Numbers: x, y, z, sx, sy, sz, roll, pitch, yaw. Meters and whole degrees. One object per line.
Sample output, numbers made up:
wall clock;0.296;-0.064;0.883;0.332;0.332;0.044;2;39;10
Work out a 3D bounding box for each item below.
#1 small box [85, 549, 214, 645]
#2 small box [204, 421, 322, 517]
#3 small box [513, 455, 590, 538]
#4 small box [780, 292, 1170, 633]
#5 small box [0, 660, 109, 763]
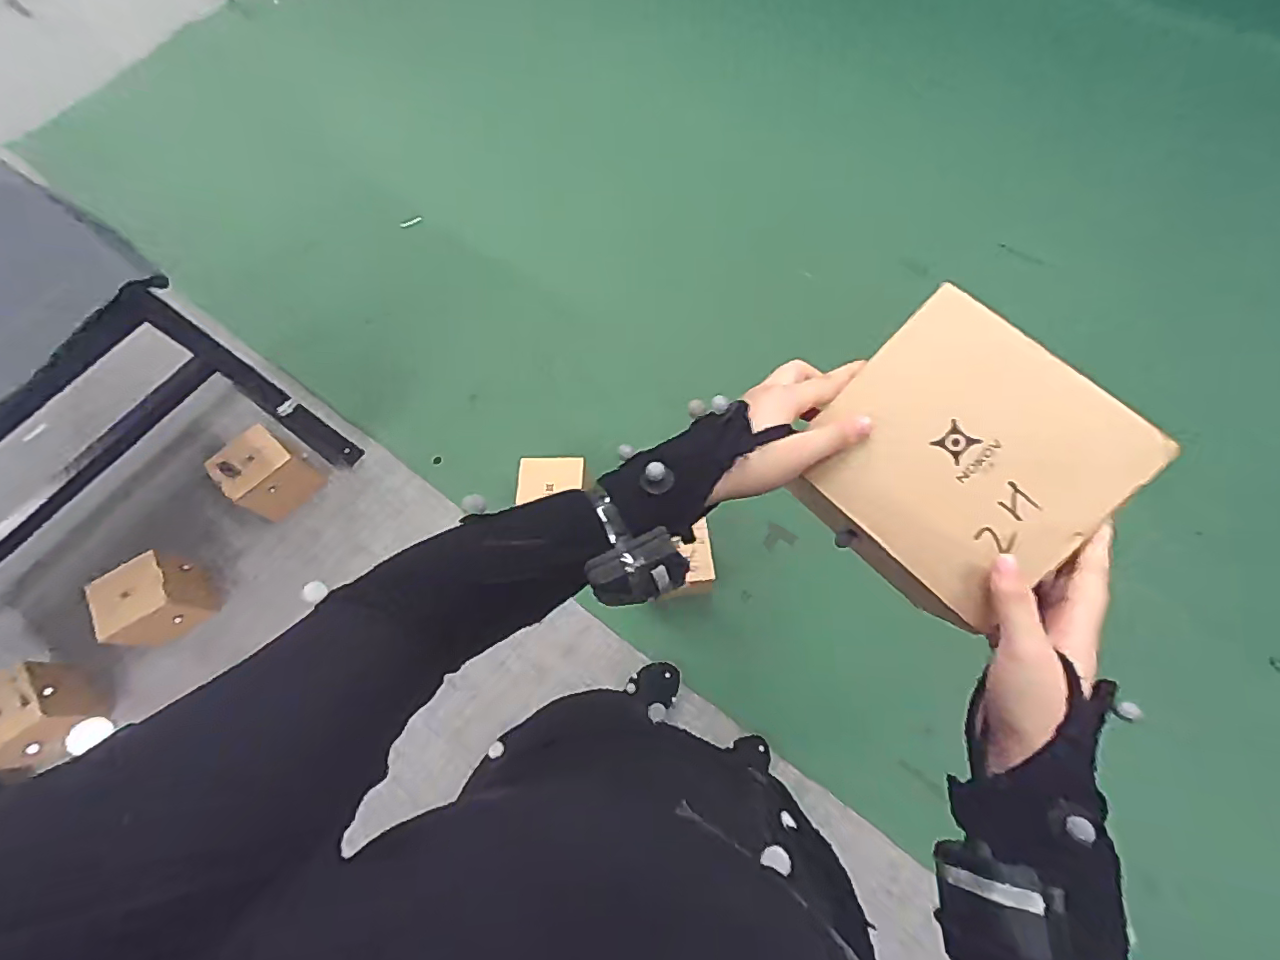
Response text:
small box;-1.251;0.306;1.395;0.179;0.176;0.168;-33;70;-7
small box;-1.040;-0.024;1.507;0.168;0.176;0.179;39;75;16
small box;-0.226;0.047;1.428;0.168;0.176;0.179;0;70;3
small box;0.230;-0.007;0.436;0.179;0.176;0.168;45;96;13
small box;-1.467;0.563;1.310;0.179;0.176;0.168;-41;72;-11
